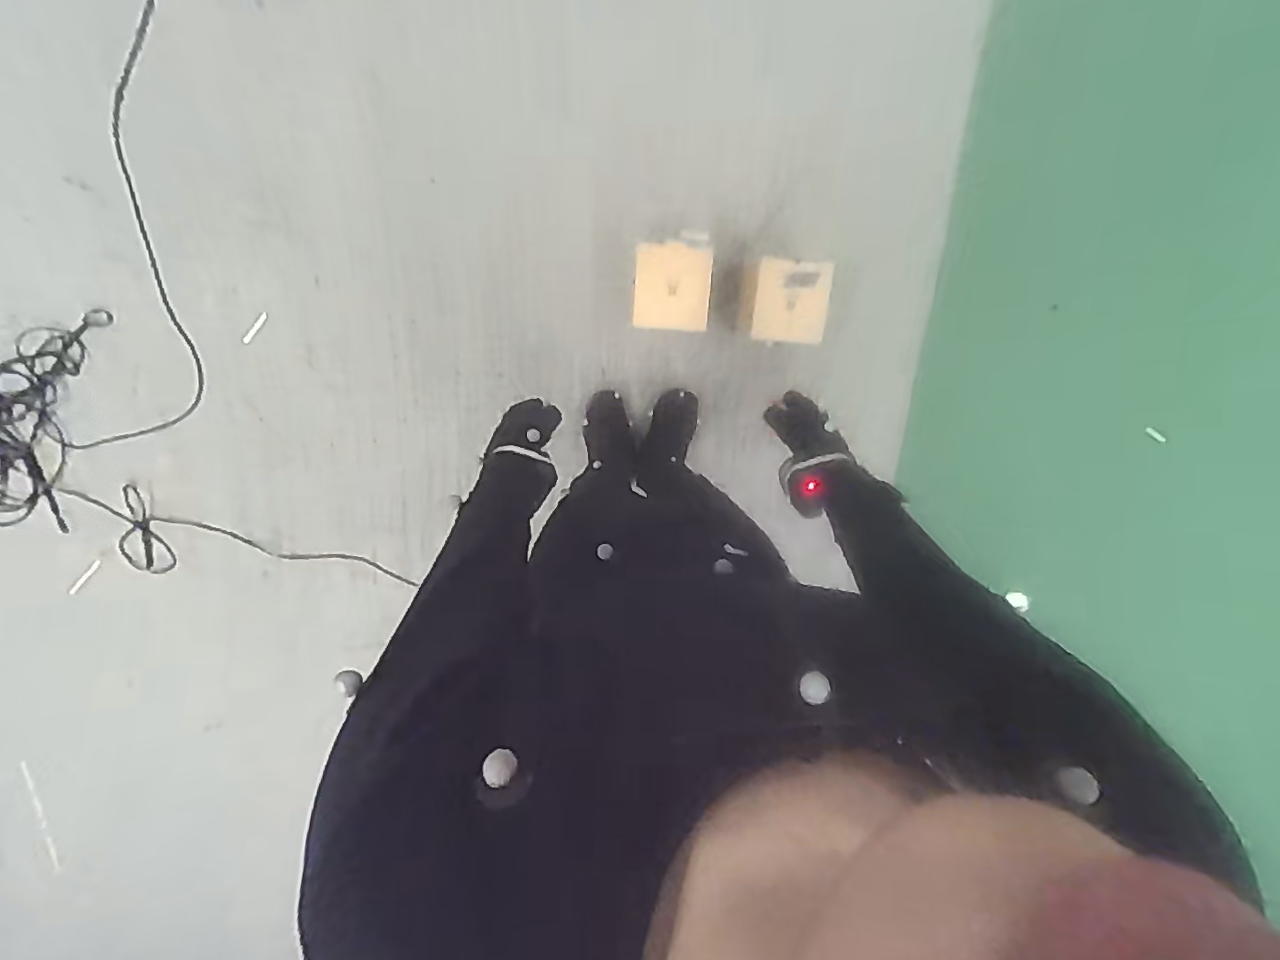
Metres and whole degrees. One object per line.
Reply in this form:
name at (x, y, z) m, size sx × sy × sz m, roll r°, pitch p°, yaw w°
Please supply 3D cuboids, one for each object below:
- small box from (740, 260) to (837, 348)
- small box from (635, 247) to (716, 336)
small box at (0.338, -0.406, 1.263) m, size 0.168 × 0.176 × 0.179 m, roll 3°, pitch 106°, yaw -3°
small box at (0.075, -0.429, 1.248) m, size 0.168 × 0.176 × 0.179 m, roll 2°, pitch 105°, yaw -3°
